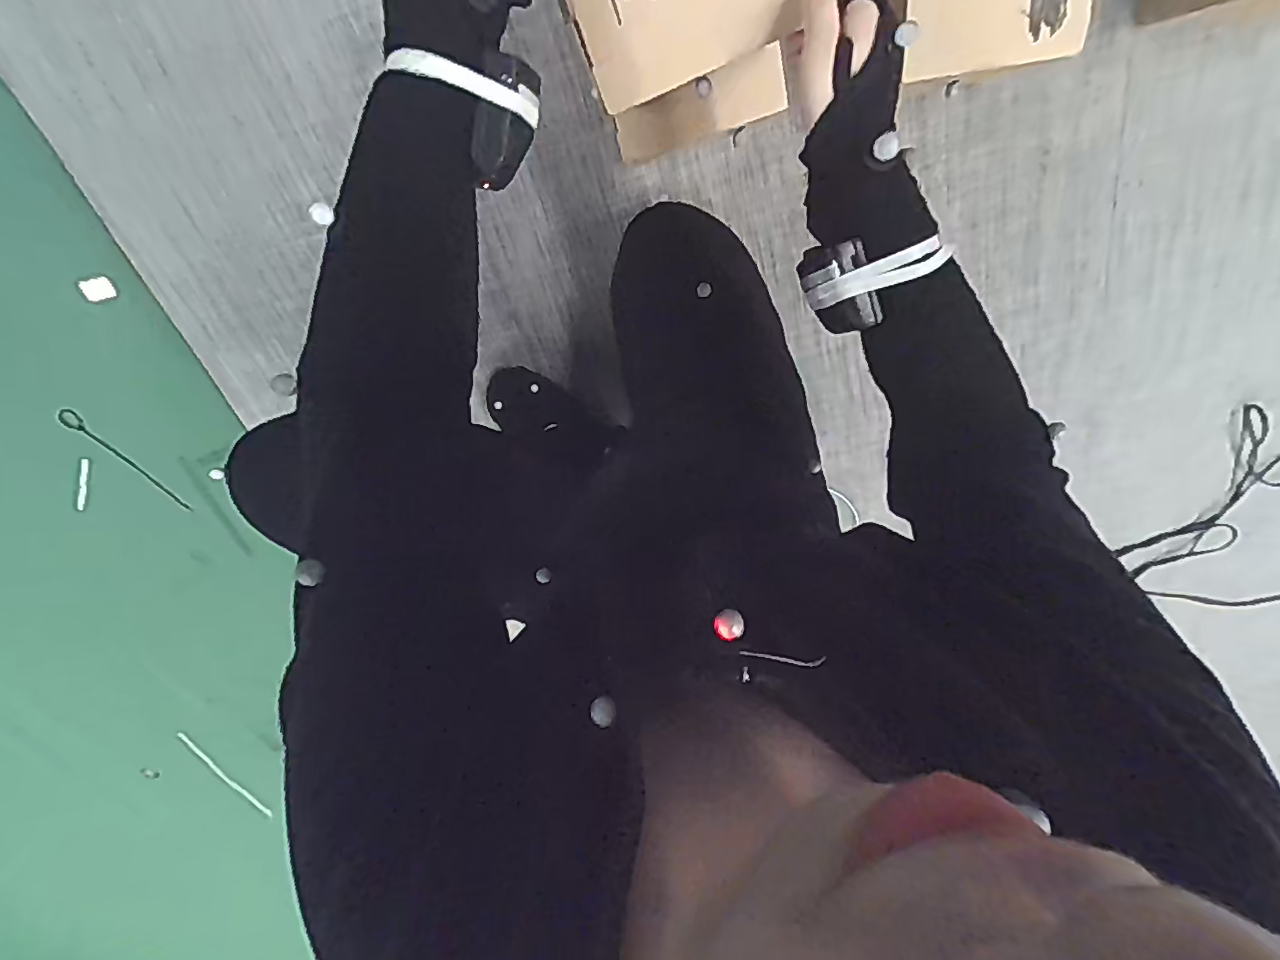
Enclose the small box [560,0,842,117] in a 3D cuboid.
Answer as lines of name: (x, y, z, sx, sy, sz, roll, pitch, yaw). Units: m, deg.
small box: (0.027, -0.390, 0.396, 0.179, 0.176, 0.168, -17, 123, 11)
